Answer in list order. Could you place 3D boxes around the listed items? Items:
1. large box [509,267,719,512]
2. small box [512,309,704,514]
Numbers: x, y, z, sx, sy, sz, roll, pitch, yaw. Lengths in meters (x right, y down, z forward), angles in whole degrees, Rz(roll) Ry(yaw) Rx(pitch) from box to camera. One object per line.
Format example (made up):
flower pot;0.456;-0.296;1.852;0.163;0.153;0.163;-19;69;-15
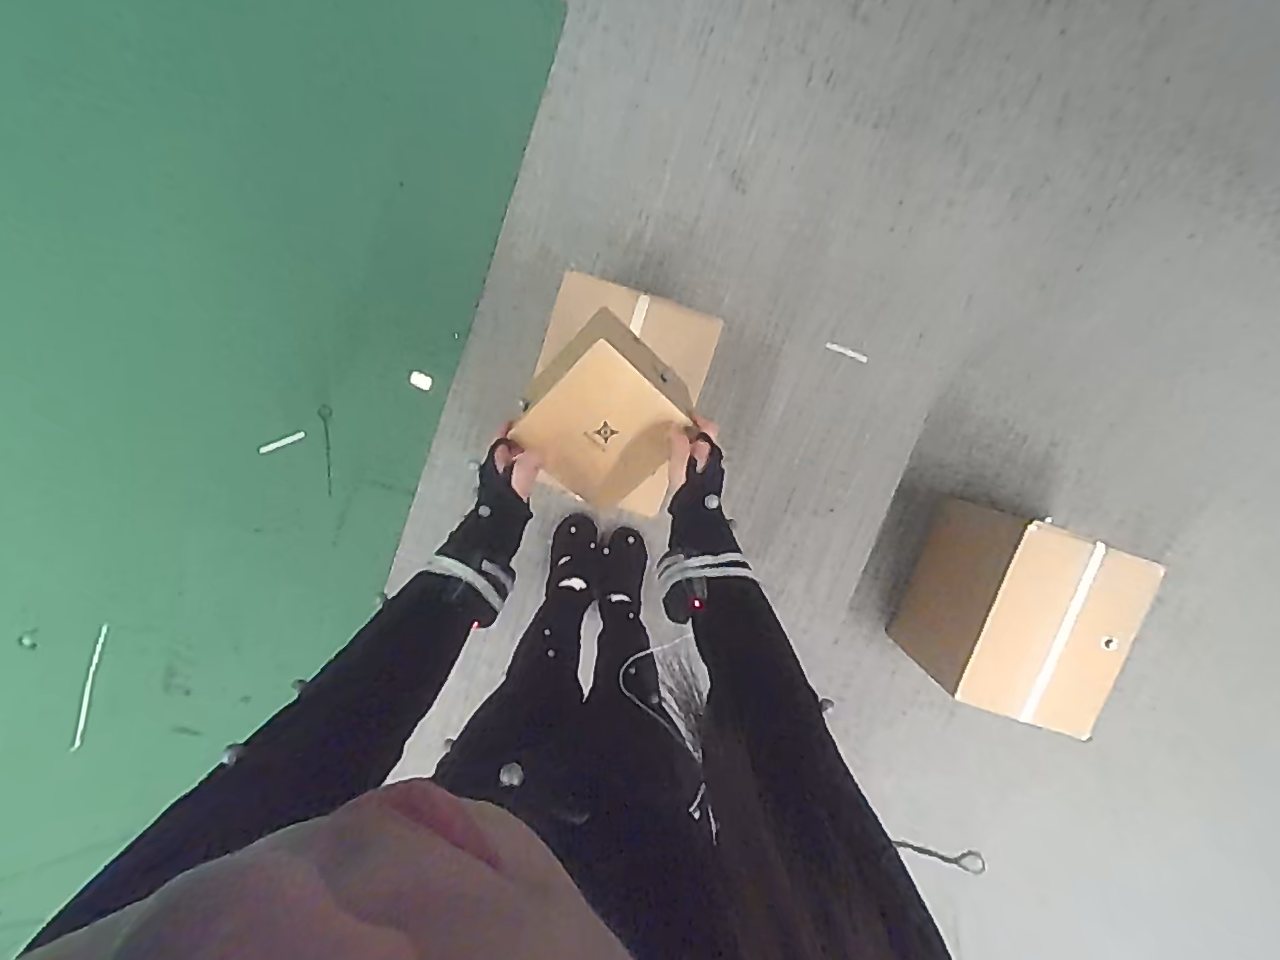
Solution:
large box;-0.054;-0.183;1.181;0.320;0.320;0.408;18;97;-4
small box;-0.042;-0.096;0.714;0.179;0.176;0.168;-40;115;21
